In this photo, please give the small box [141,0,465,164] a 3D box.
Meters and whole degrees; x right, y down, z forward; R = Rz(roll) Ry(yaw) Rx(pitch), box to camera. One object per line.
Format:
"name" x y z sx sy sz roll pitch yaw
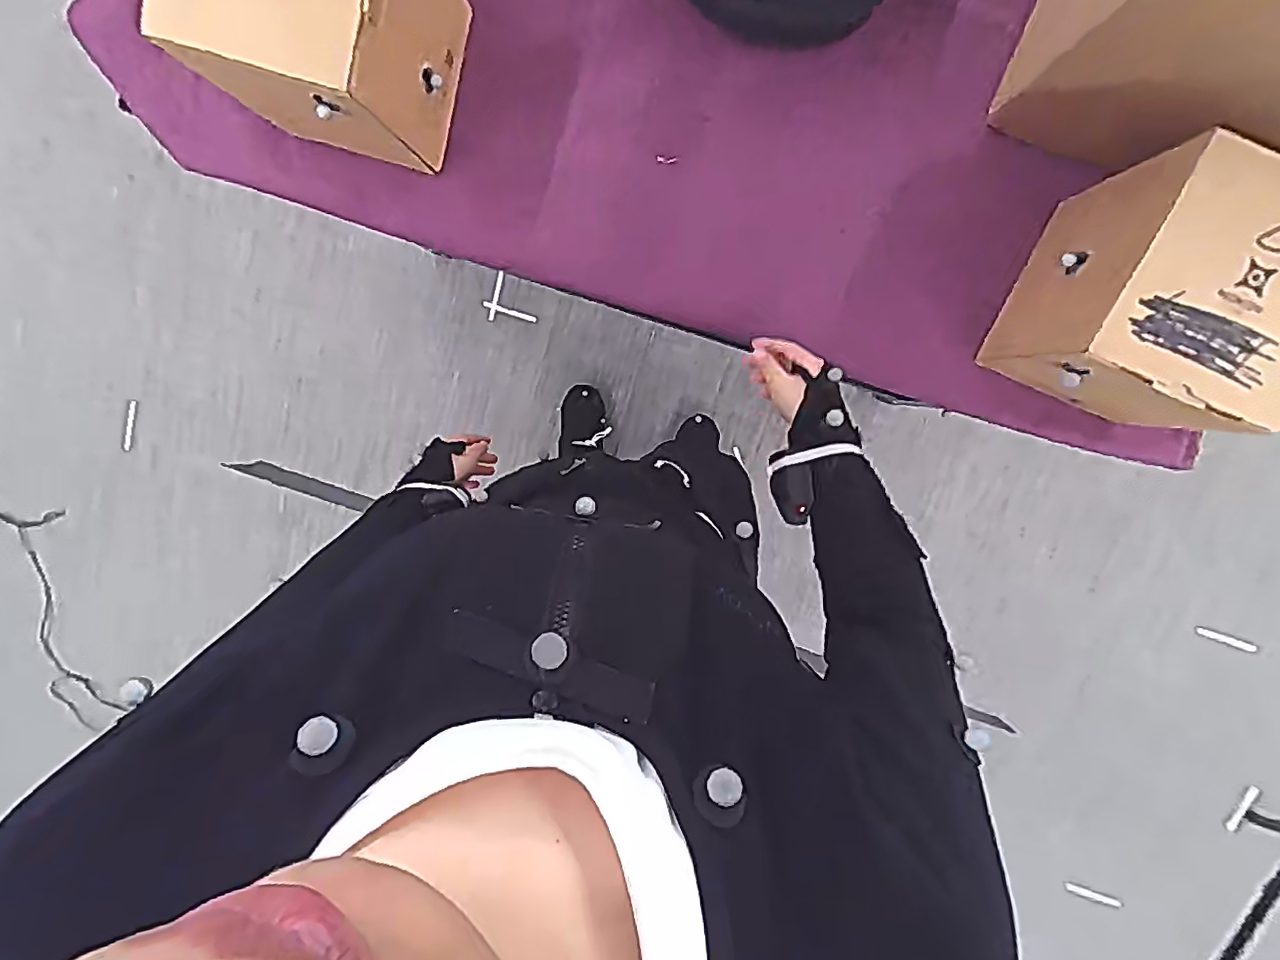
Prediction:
"small box" -0.287 -0.421 0.493 0.179 0.176 0.168 15 100 0
